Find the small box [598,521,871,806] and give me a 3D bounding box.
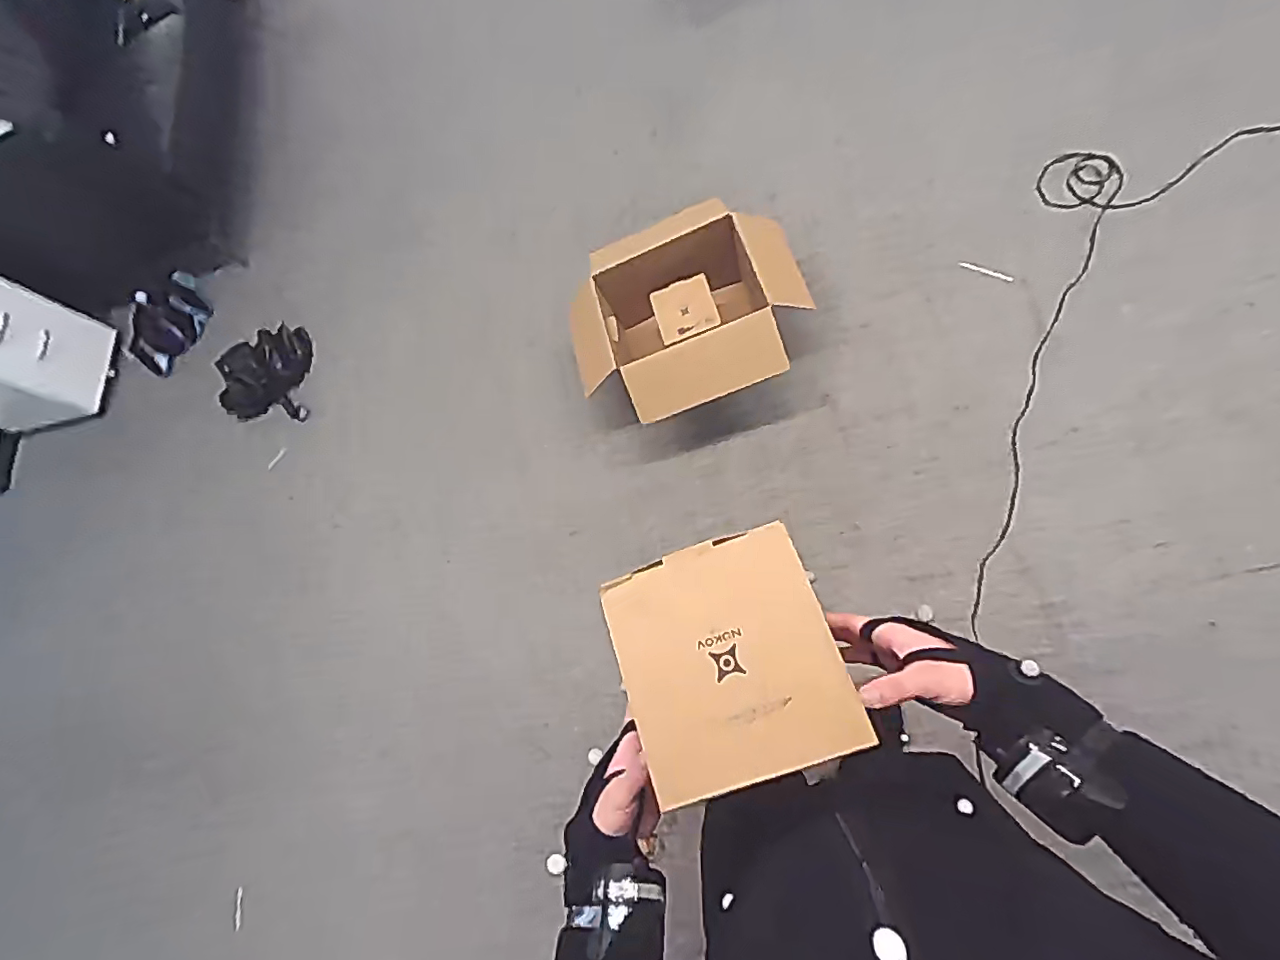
[{"bbox_3d":[0.080,0.160,0.490,0.168,0.176,0.179,-21,69,7],"label":"small box"}]
